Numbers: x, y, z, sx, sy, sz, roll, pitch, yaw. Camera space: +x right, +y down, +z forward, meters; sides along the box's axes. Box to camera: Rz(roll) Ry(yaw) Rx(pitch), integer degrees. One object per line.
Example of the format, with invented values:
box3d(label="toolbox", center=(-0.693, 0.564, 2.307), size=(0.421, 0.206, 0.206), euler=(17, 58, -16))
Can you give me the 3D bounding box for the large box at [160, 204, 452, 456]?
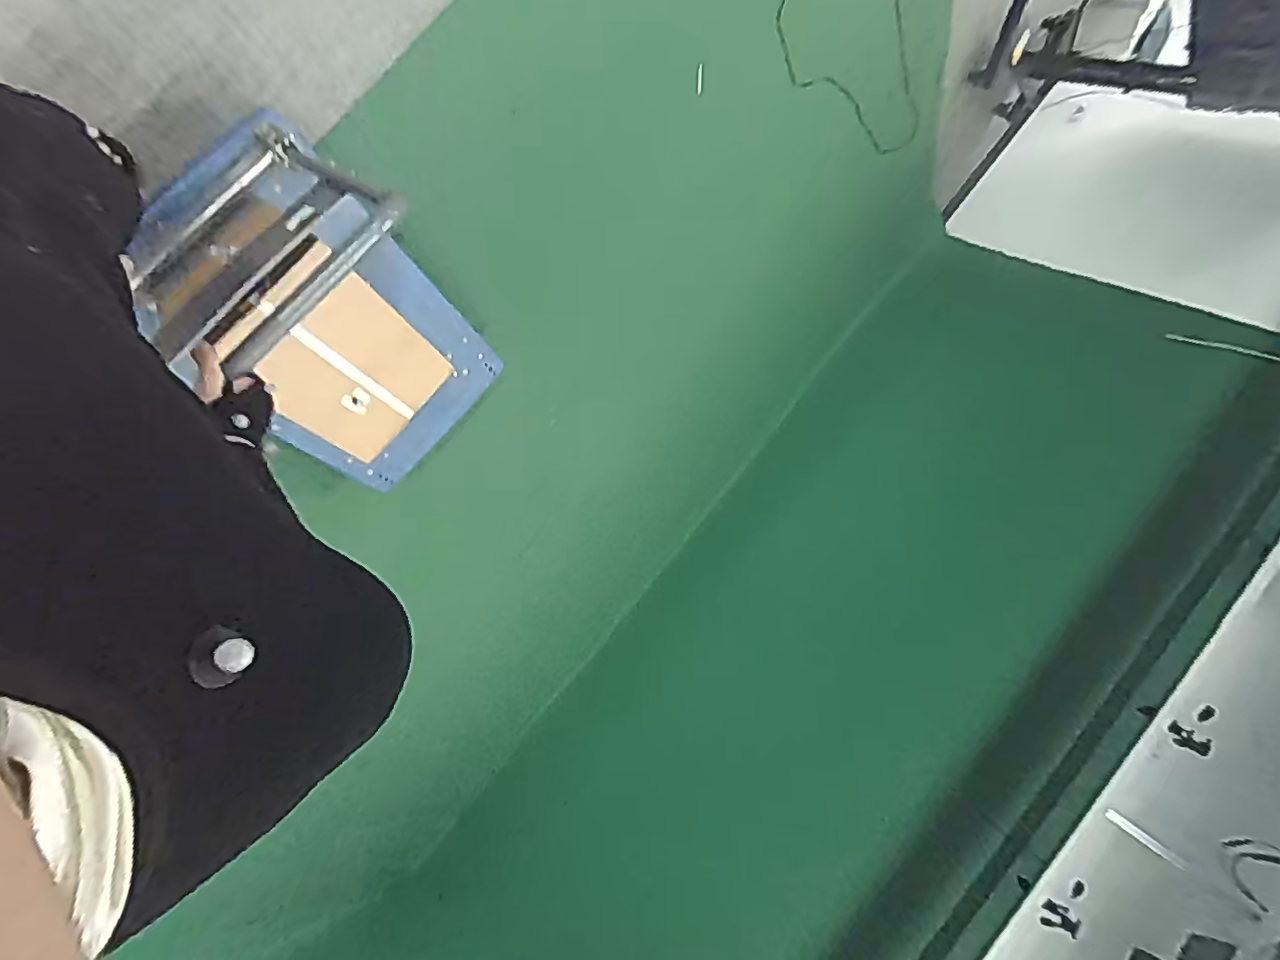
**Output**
box3d(label="large box", center=(-0.726, -0.322, 1.216), size=(0.320, 0.320, 0.408), euler=(-50, 149, -7))
